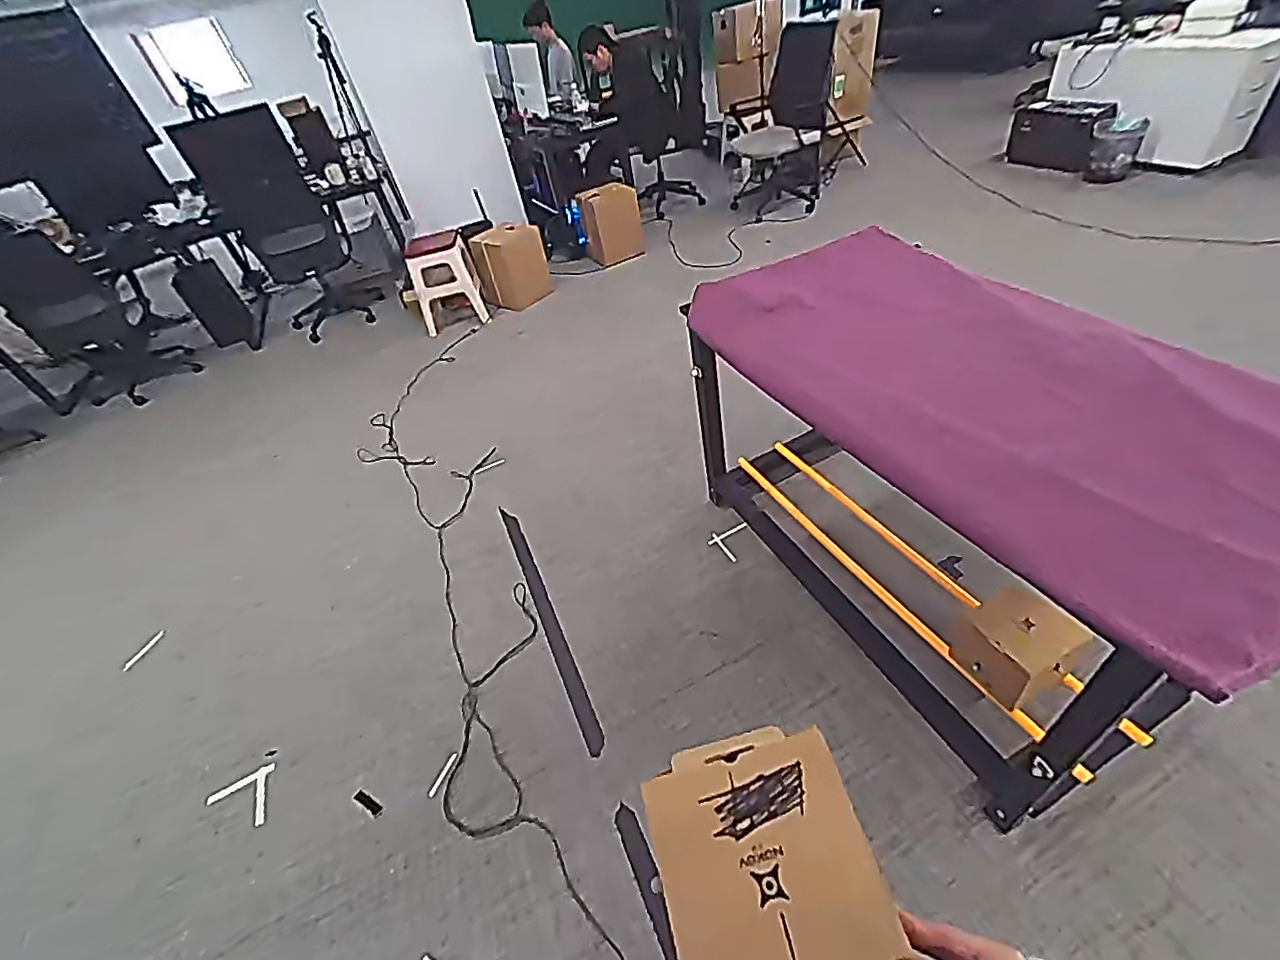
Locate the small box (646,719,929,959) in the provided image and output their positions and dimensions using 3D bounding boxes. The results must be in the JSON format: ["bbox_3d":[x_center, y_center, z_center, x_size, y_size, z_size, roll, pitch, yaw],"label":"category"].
[{"bbox_3d":[0.113,0.342,0.478,0.168,0.176,0.179,-17,53,-2],"label":"small box"}]

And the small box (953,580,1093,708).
[{"bbox_3d":[0.822,0.359,1.183,0.179,0.176,0.168,-26,43,-12],"label":"small box"}]
